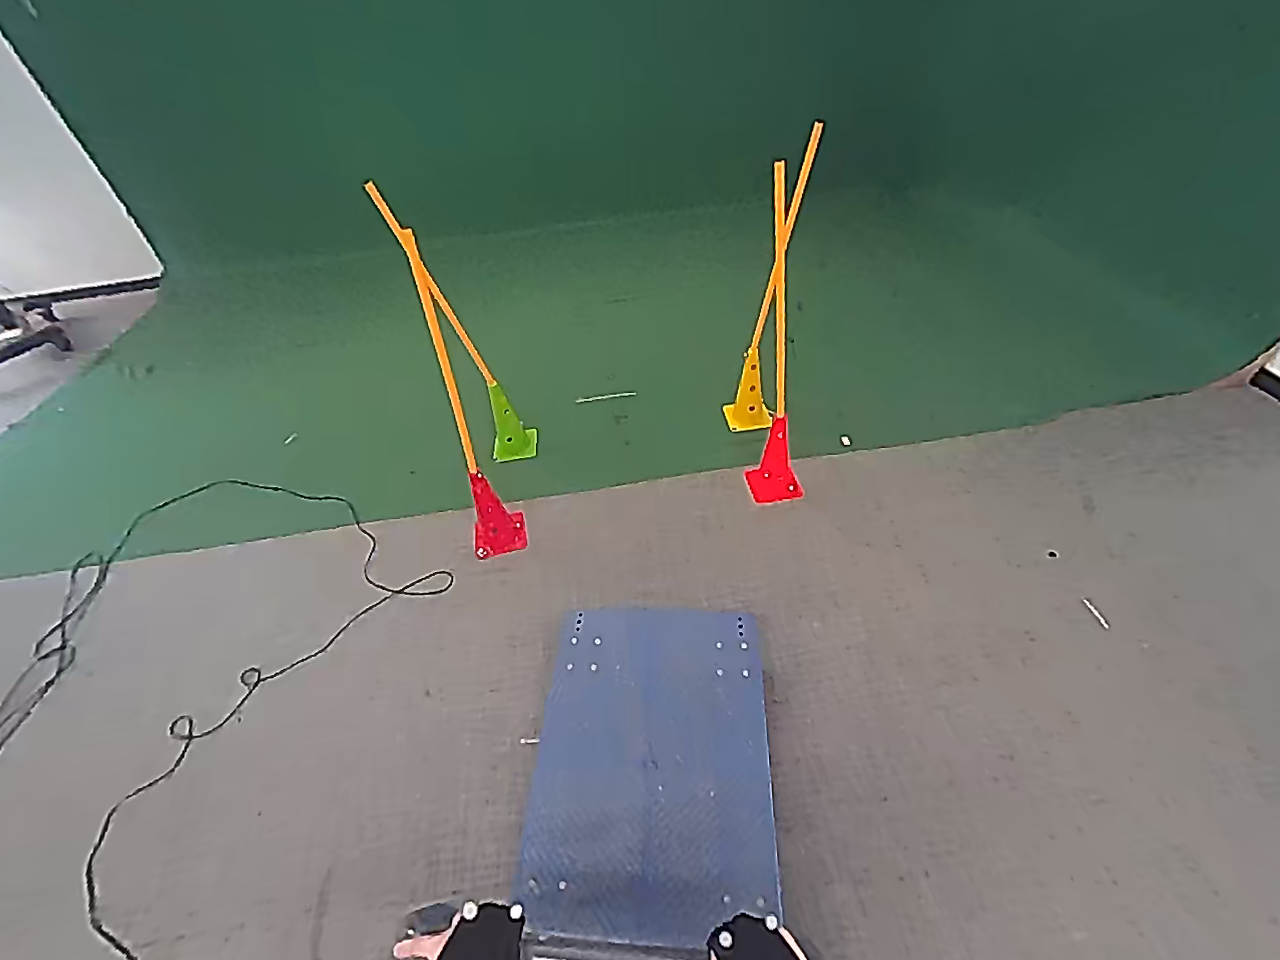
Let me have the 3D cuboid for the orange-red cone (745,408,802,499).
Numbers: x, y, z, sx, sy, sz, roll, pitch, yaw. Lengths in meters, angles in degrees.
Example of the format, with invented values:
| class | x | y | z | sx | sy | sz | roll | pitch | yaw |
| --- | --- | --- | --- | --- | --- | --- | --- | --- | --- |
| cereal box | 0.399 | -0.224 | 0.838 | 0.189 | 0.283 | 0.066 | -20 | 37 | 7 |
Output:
| class | x | y | z | sx | sy | sz | roll | pitch | yaw |
| --- | --- | --- | --- | --- | --- | --- | --- | --- | --- |
| orange-red cone | 0.526 | -0.122 | 2.078 | 0.198 | 0.360 | 0.199 | -8 | 42 | -2 |

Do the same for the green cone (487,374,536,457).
| class | x | y | z | sx | sy | sz | roll | pitch | yaw |
| --- | --- | --- | --- | --- | --- | --- | --- | --- | --- |
| green cone | -0.605 | -0.304 | 2.401 | 0.200 | 0.368 | 0.202 | -9 | 43 | -1 |
